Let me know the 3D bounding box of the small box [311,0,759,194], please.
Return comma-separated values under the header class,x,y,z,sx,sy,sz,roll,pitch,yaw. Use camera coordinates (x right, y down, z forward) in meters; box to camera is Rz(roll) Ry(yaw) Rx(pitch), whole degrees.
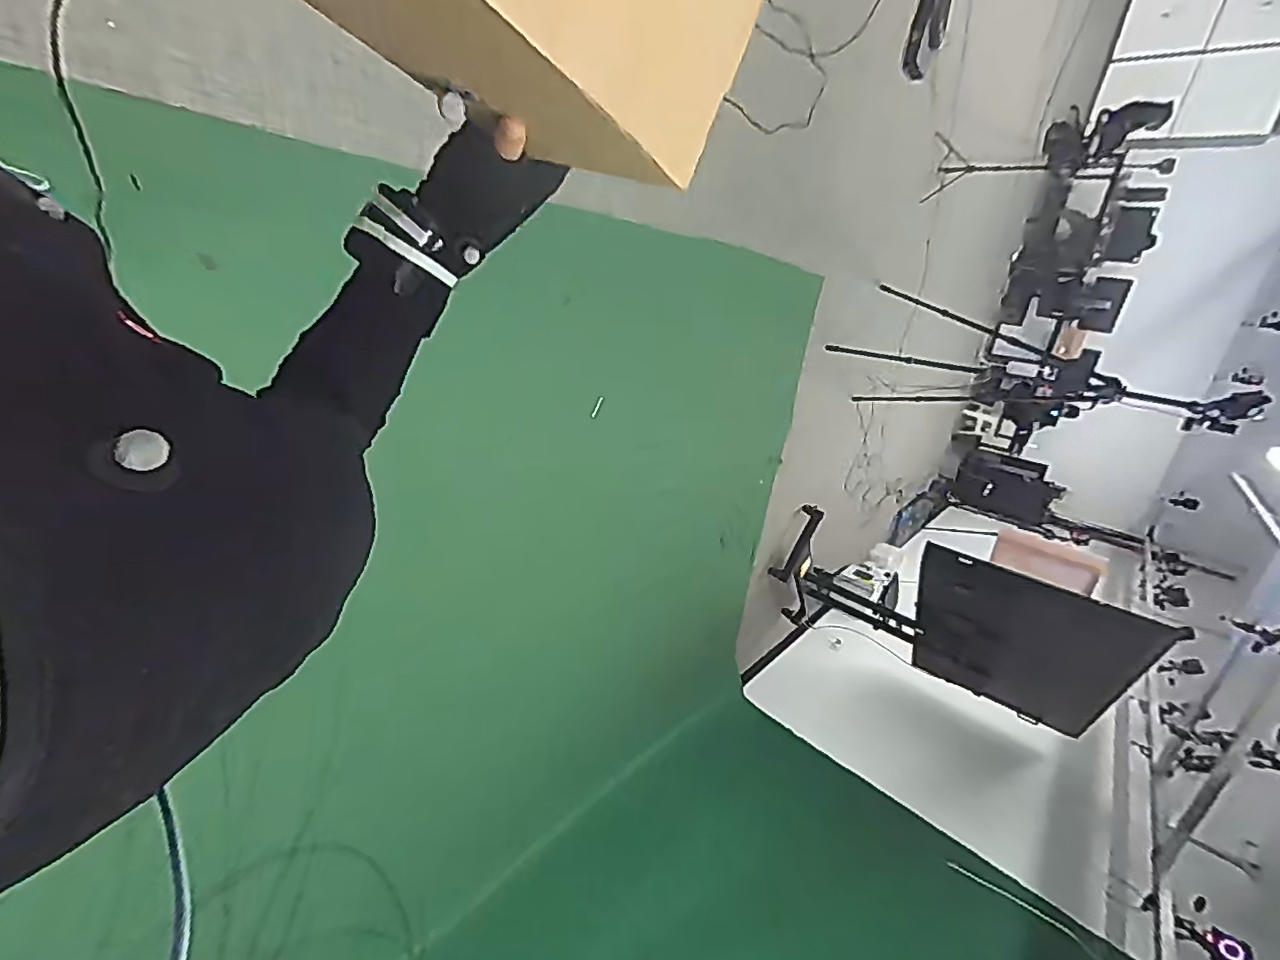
class,x,y,z,sx,sy,sz,roll,pitch,yaw
small box,-0.048,-0.288,0.287,0.179,0.176,0.168,0,116,-59
